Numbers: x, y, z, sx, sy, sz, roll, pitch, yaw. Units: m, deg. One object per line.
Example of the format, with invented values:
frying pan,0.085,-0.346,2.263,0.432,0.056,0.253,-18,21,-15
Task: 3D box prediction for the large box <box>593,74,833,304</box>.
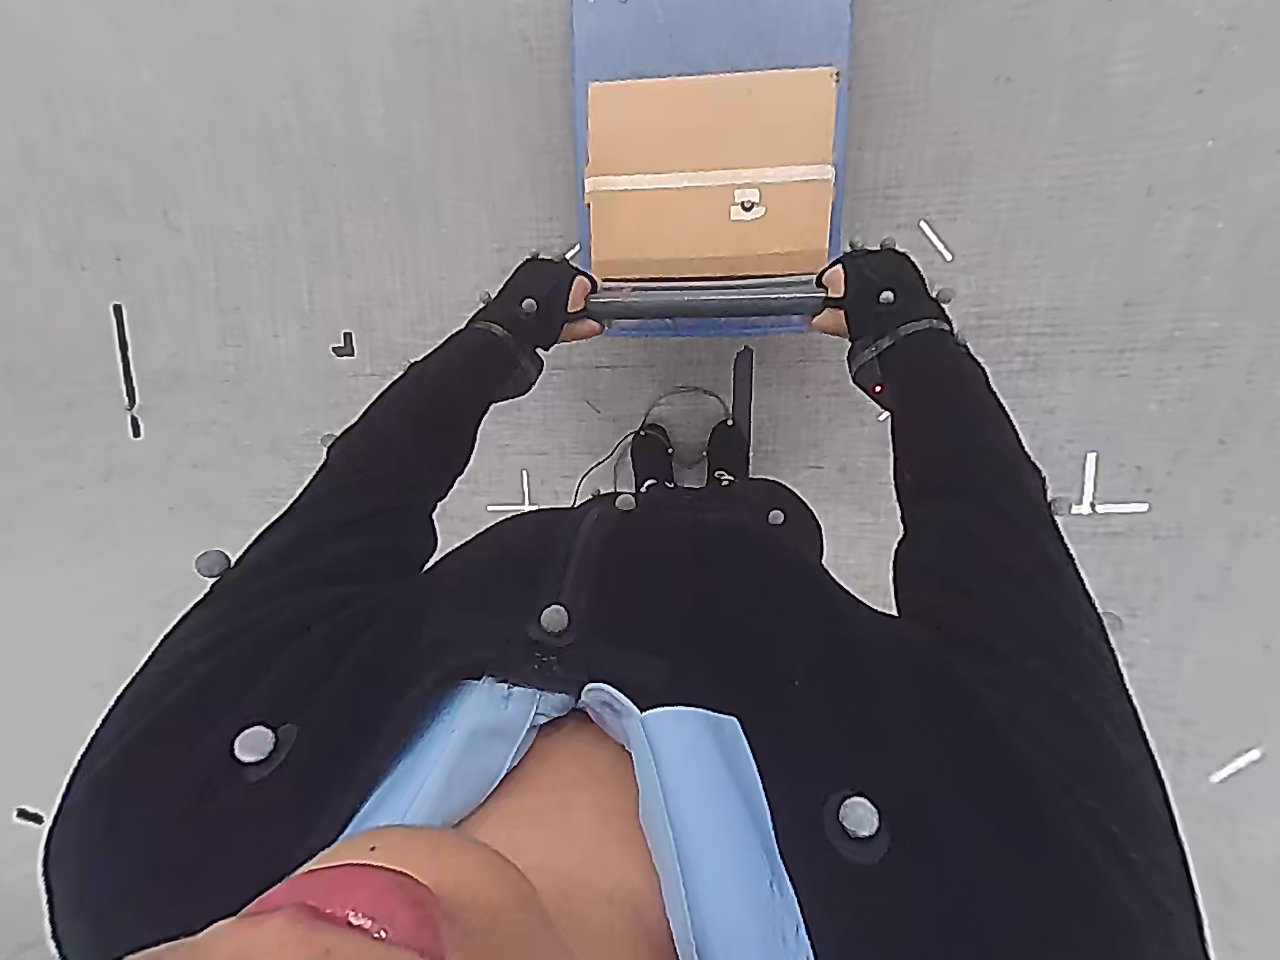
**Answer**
large box,0.132,-0.534,1.069,0.408,0.320,0.320,1,101,6
